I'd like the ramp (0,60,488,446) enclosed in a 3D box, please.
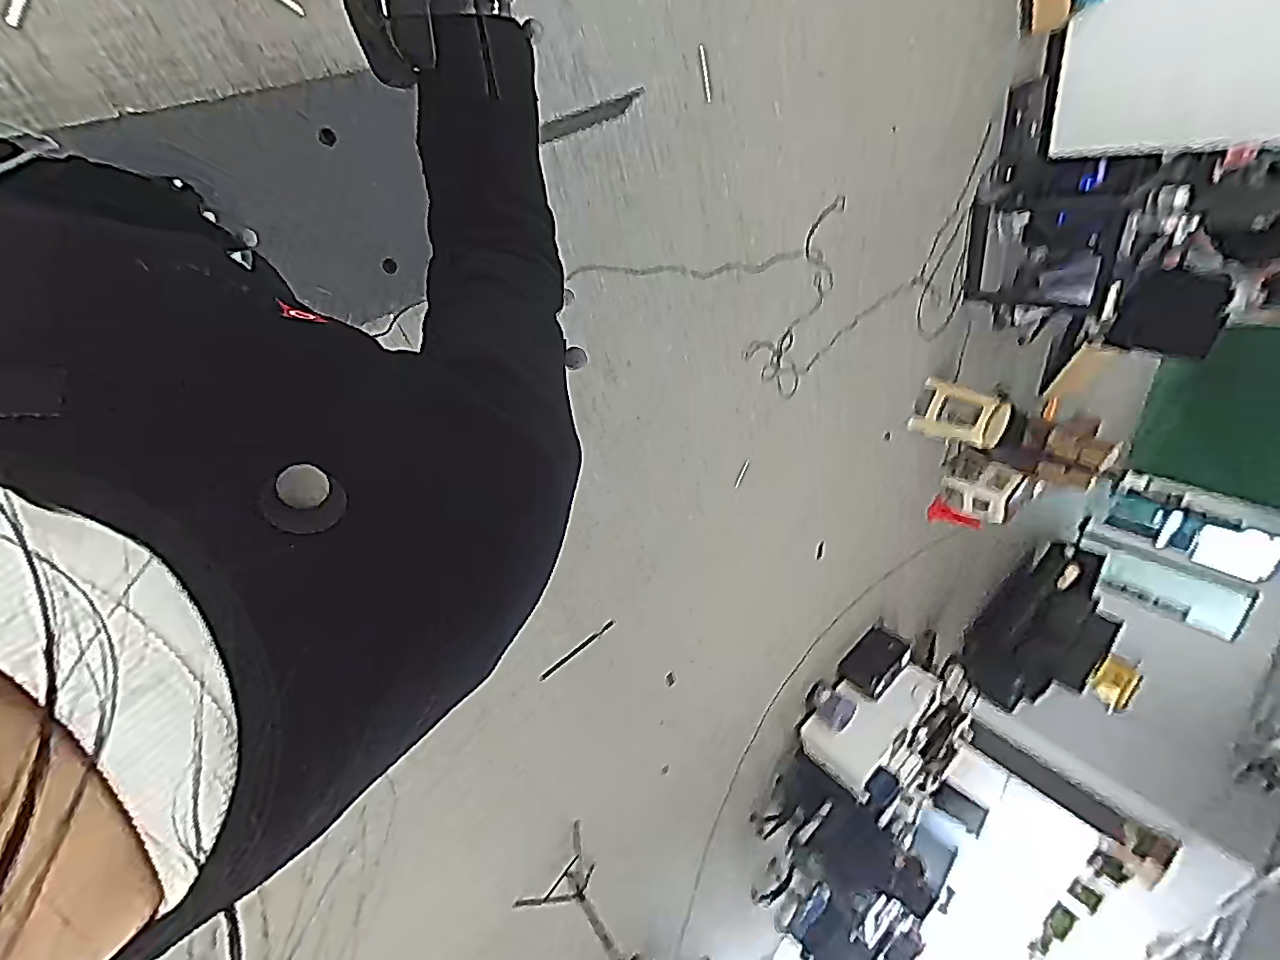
[{"bbox_3d":[-0.815,-0.537,1.179,0.991,0.206,0.509,-36,129,-22],"label":"ramp"}]
